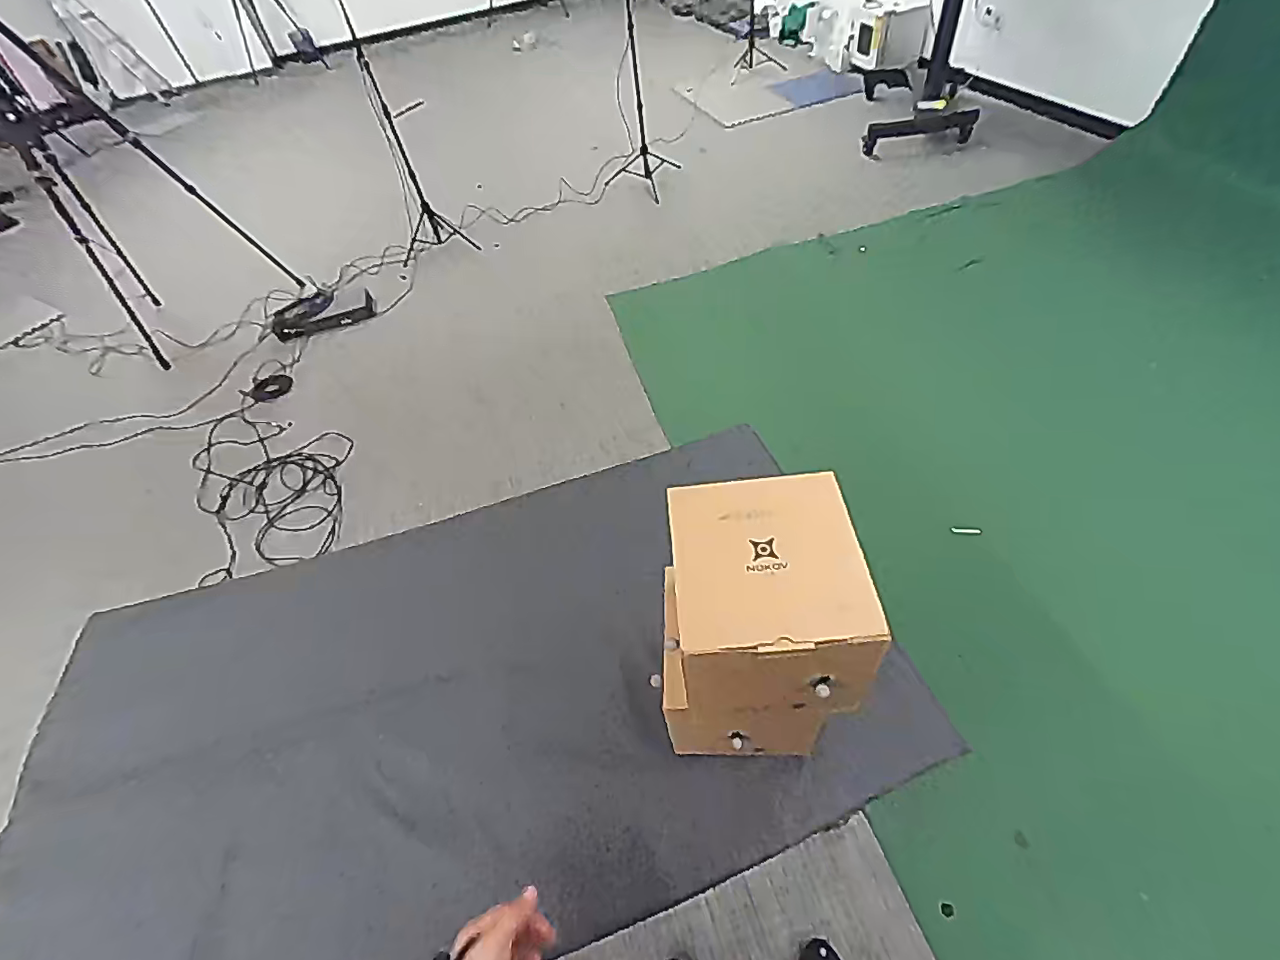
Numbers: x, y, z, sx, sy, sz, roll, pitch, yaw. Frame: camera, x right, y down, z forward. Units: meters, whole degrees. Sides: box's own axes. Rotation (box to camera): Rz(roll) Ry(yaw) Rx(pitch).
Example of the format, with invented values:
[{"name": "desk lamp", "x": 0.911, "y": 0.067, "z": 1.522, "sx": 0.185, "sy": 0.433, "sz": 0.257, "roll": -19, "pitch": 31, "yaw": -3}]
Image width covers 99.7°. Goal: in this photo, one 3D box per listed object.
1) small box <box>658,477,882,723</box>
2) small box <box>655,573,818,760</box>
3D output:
[{"name": "small box", "x": 0.110, "y": 0.123, "z": 0.525, "sx": 0.168, "sy": 0.176, "sz": 0.179, "roll": -6, "pitch": 48, "yaw": 3}, {"name": "small box", "x": 0.111, "y": 0.226, "z": 0.653, "sx": 0.168, "sy": 0.176, "sz": 0.179, "roll": -3, "pitch": 48, "yaw": 7}]
